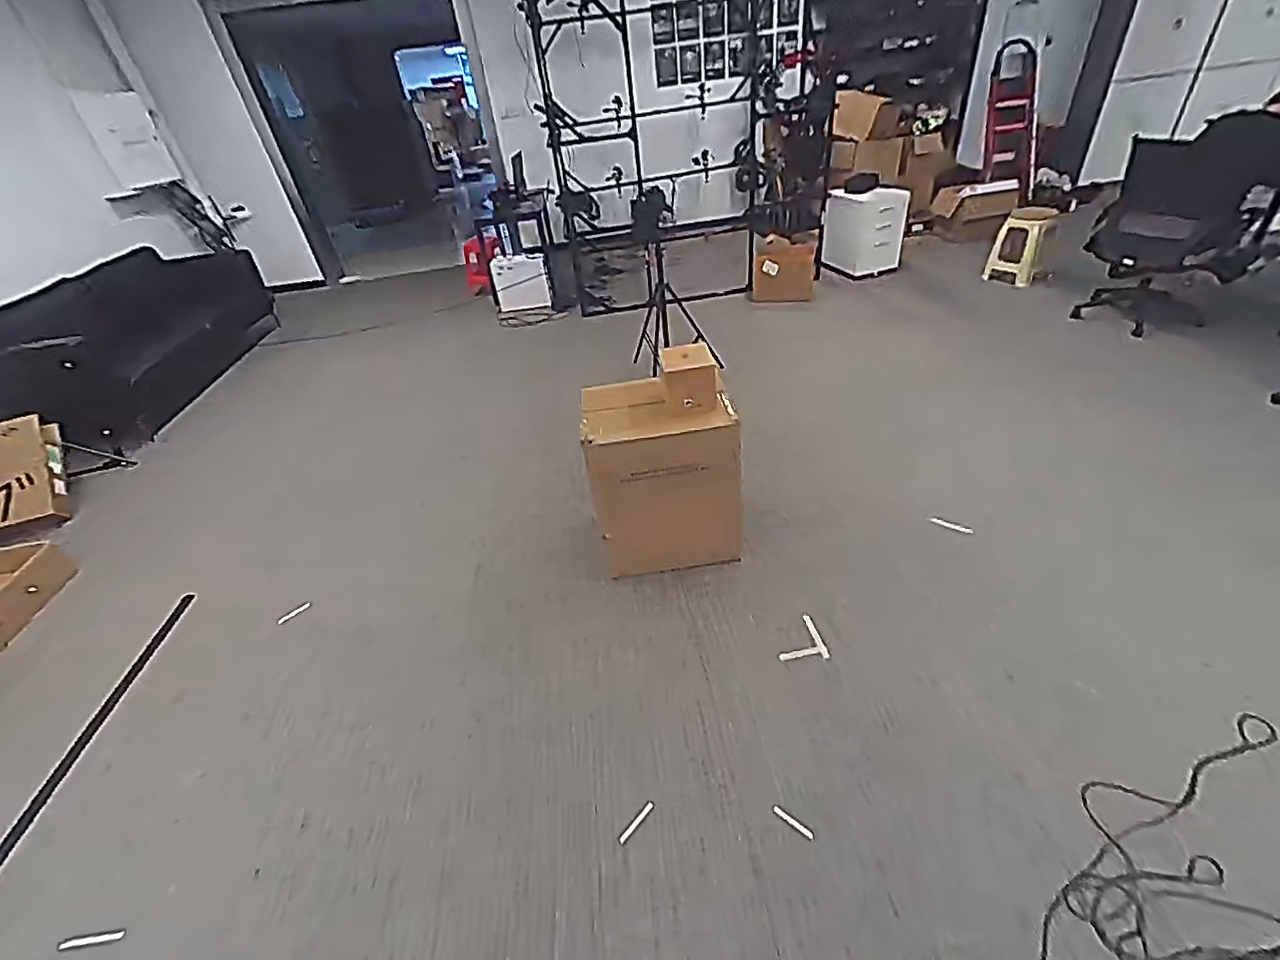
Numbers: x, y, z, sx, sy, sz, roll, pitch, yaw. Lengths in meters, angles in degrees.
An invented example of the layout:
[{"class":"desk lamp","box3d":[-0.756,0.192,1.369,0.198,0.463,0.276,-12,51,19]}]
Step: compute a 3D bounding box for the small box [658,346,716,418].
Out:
[{"class":"small box","box3d":[0.158,-0.332,1.829,0.168,0.176,0.179,-10,39,1]}]
